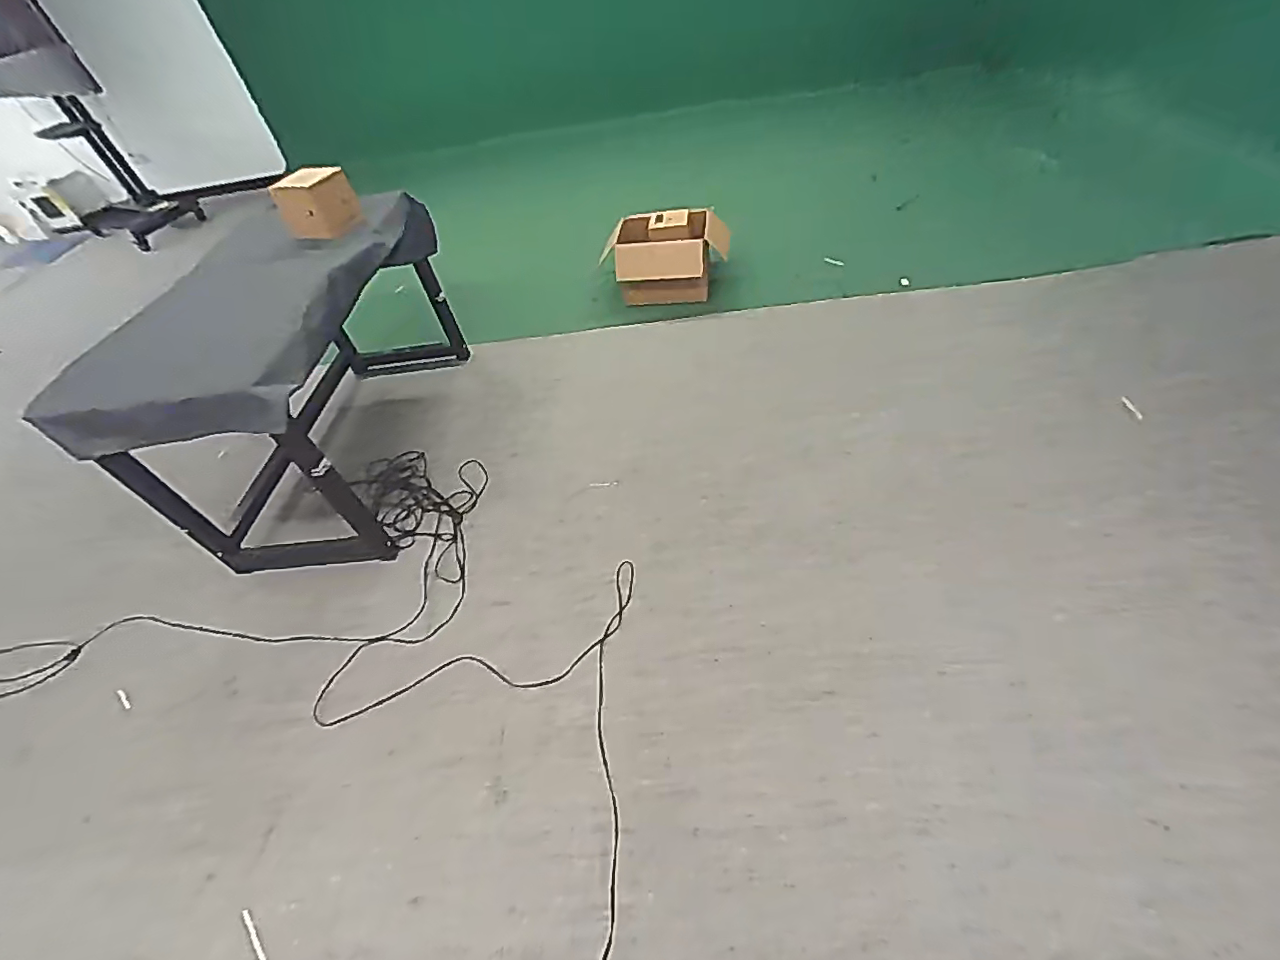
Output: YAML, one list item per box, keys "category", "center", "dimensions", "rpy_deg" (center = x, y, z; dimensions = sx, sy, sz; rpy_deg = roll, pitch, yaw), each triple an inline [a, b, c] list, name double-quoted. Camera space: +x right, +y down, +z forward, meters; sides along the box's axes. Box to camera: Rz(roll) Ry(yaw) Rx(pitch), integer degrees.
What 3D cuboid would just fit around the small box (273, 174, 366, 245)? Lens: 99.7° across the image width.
- category: "small box"
  center: [-1.078, -0.915, 1.835]
  dimensions: [0.179, 0.176, 0.168]
  rpy_deg: [8, 49, 19]
